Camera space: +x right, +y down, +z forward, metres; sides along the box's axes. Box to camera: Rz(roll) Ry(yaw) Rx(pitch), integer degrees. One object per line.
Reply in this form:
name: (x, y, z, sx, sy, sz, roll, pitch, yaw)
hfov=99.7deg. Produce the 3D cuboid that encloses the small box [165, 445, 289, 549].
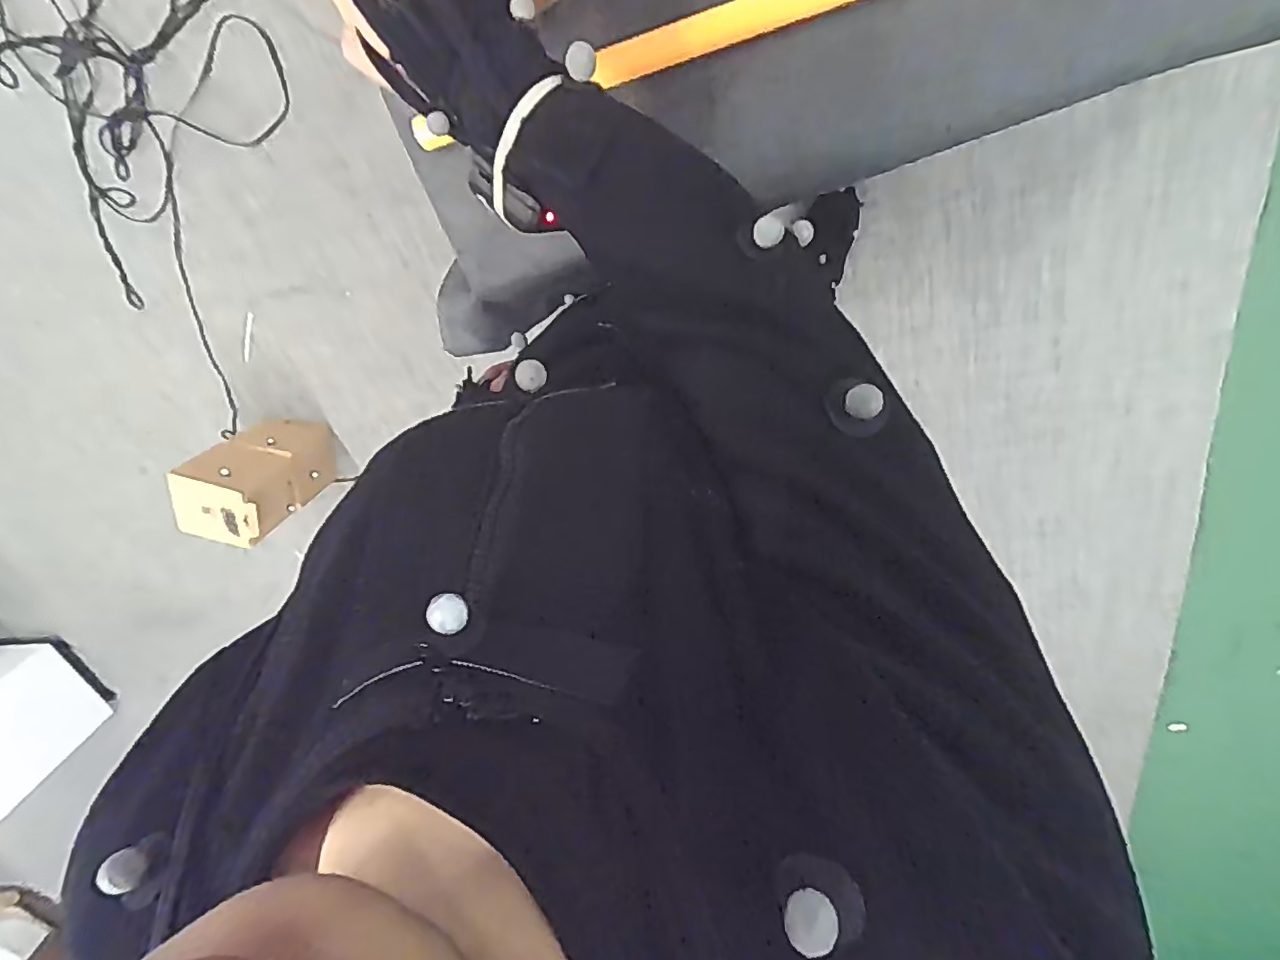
small box: (-0.978, 0.035, 1.304, 0.179, 0.176, 0.168, 15, 119, -2)

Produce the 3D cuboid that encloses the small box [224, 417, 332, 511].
small box: (-0.953, -0.047, 1.445, 0.168, 0.176, 0.179, 11, 120, 0)

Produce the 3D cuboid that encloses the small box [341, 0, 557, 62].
small box: (-0.126, -0.399, 0.323, 0.168, 0.176, 0.179, -23, 116, 18)
